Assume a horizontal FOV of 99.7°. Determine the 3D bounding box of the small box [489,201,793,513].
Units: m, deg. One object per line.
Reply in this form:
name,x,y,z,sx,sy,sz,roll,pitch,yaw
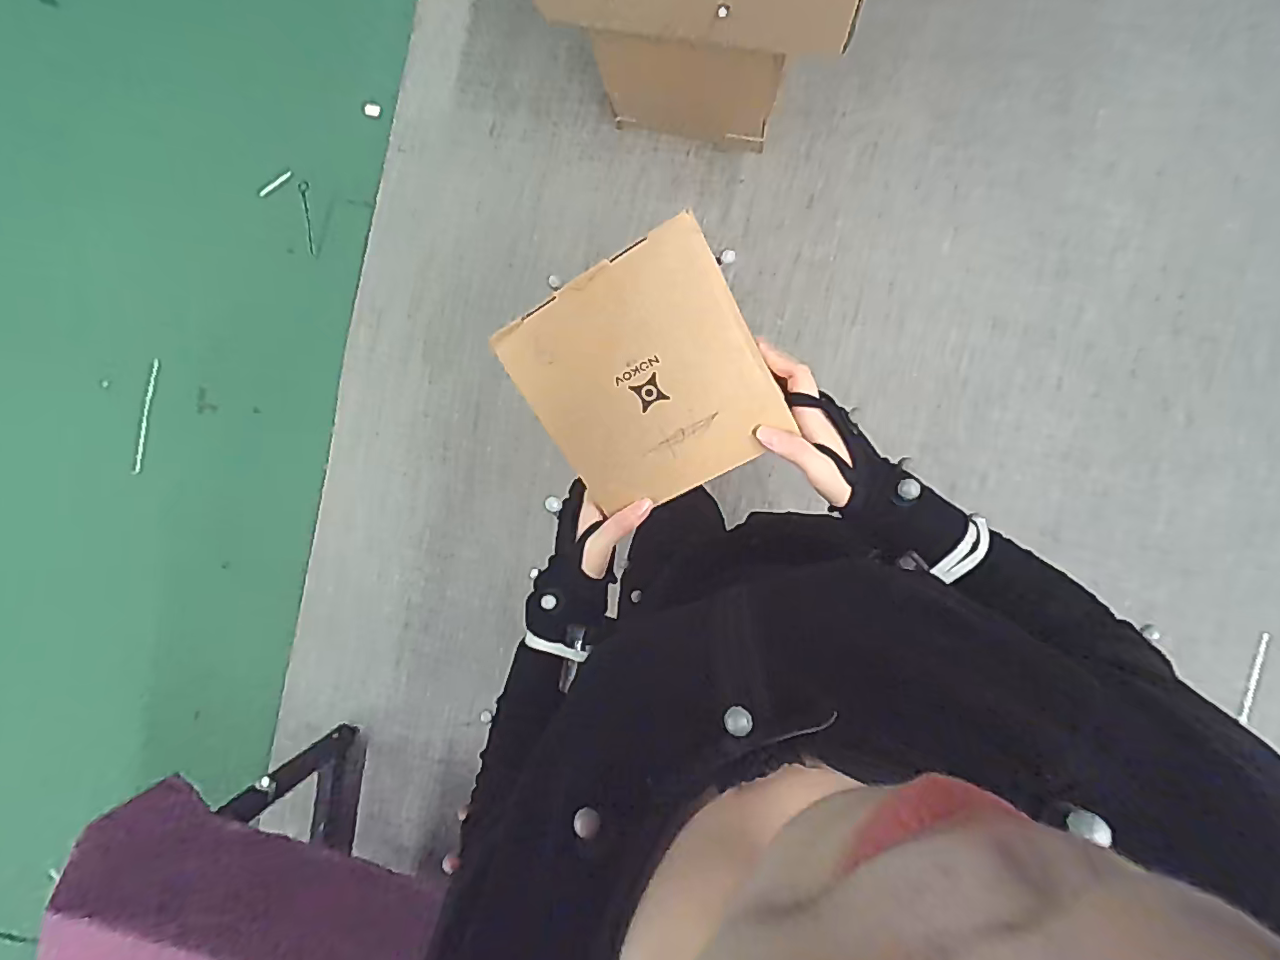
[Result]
small box,0.009,-0.107,0.463,0.168,0.176,0.179,-26,110,17
